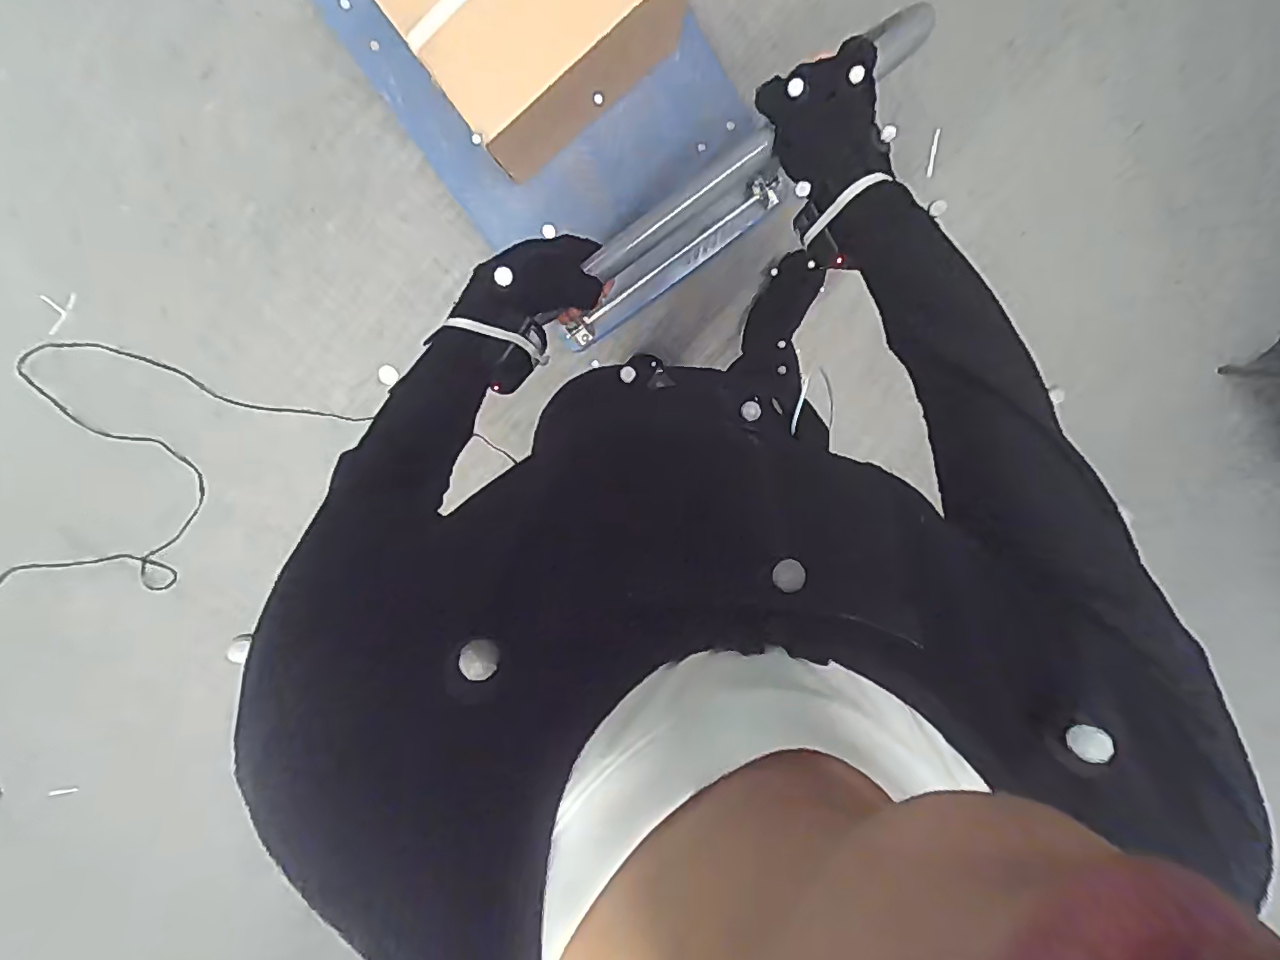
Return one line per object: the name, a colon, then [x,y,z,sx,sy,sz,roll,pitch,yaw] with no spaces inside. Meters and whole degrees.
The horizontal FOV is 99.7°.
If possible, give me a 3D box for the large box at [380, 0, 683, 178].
large box: [-0.170,-0.793,0.891,0.408,0.320,0.320,-37,105,10]
